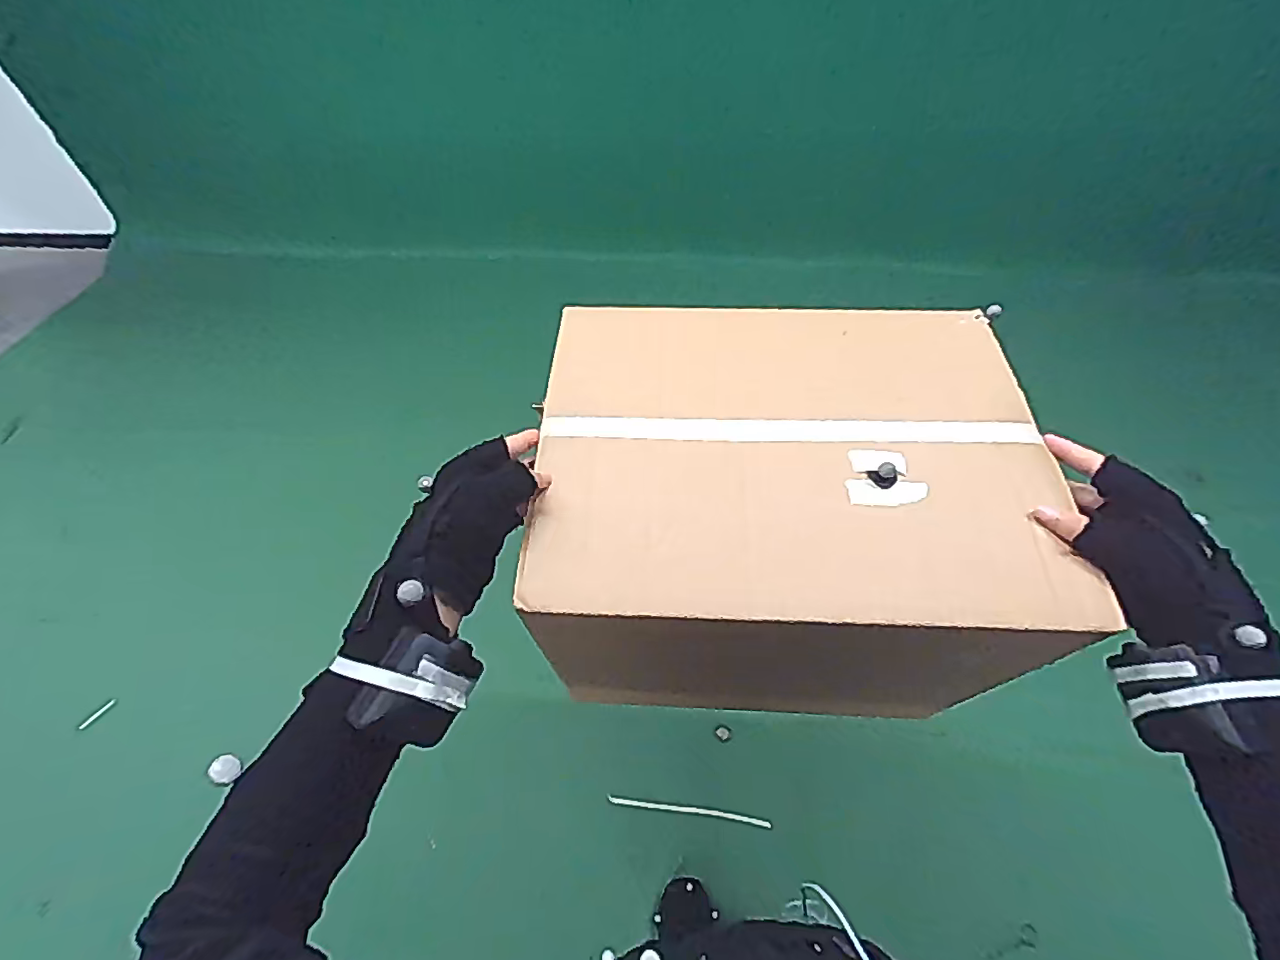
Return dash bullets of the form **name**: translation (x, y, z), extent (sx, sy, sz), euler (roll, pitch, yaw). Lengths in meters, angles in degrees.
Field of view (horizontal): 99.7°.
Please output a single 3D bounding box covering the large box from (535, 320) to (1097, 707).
- **large box**: translation (0.125, 0.050, 0.584), extent (0.408, 0.320, 0.320), euler (2, 57, 2)
